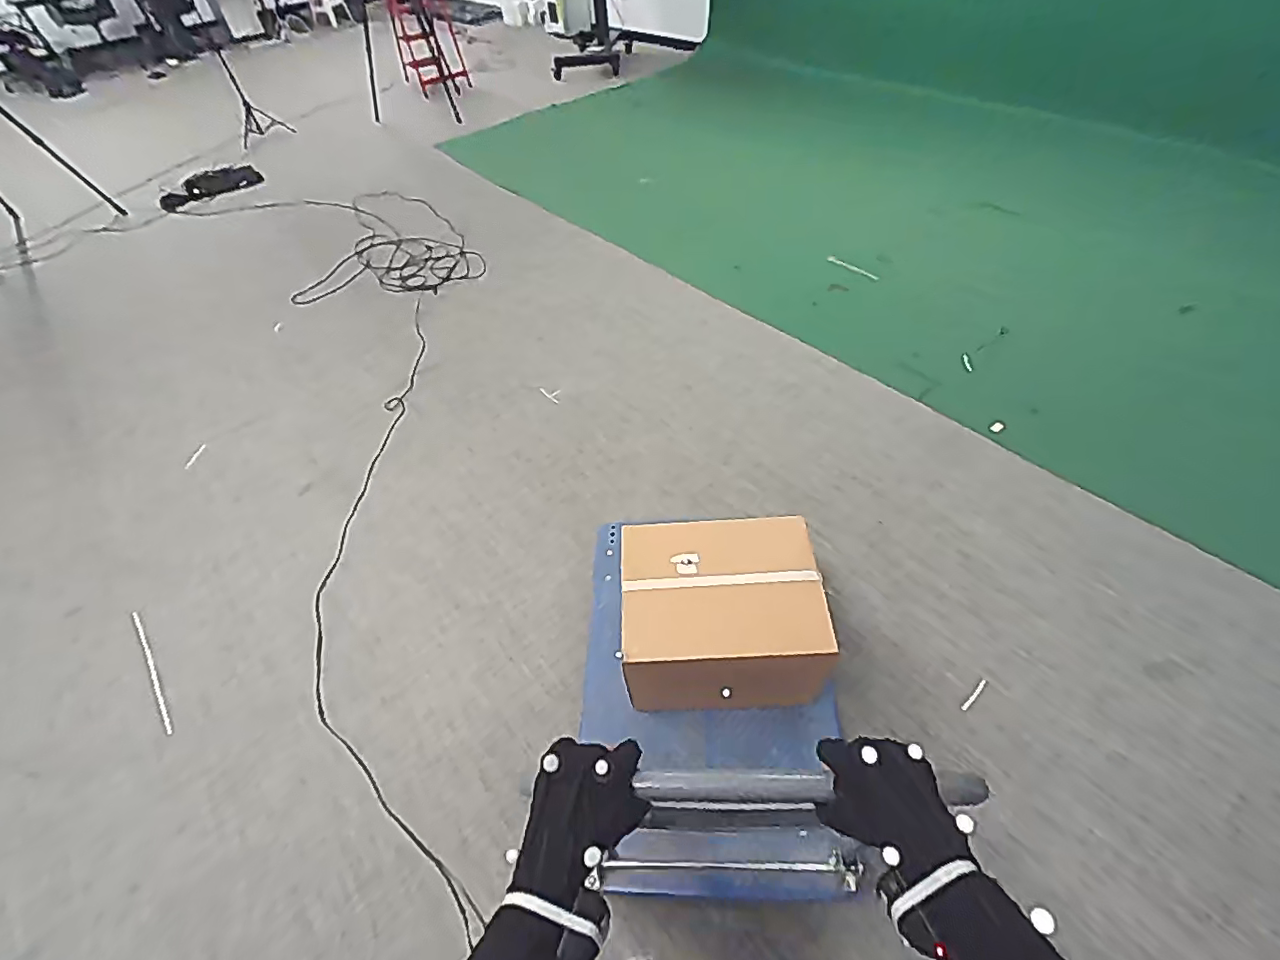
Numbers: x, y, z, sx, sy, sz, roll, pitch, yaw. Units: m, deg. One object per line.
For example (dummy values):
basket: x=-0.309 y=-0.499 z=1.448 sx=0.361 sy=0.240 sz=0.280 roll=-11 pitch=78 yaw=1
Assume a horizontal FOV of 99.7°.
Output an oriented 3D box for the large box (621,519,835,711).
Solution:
large box: x=0.174 y=0.312 z=1.219 sx=0.408 sy=0.320 sz=0.320 roll=-4 pitch=50 yaw=2
